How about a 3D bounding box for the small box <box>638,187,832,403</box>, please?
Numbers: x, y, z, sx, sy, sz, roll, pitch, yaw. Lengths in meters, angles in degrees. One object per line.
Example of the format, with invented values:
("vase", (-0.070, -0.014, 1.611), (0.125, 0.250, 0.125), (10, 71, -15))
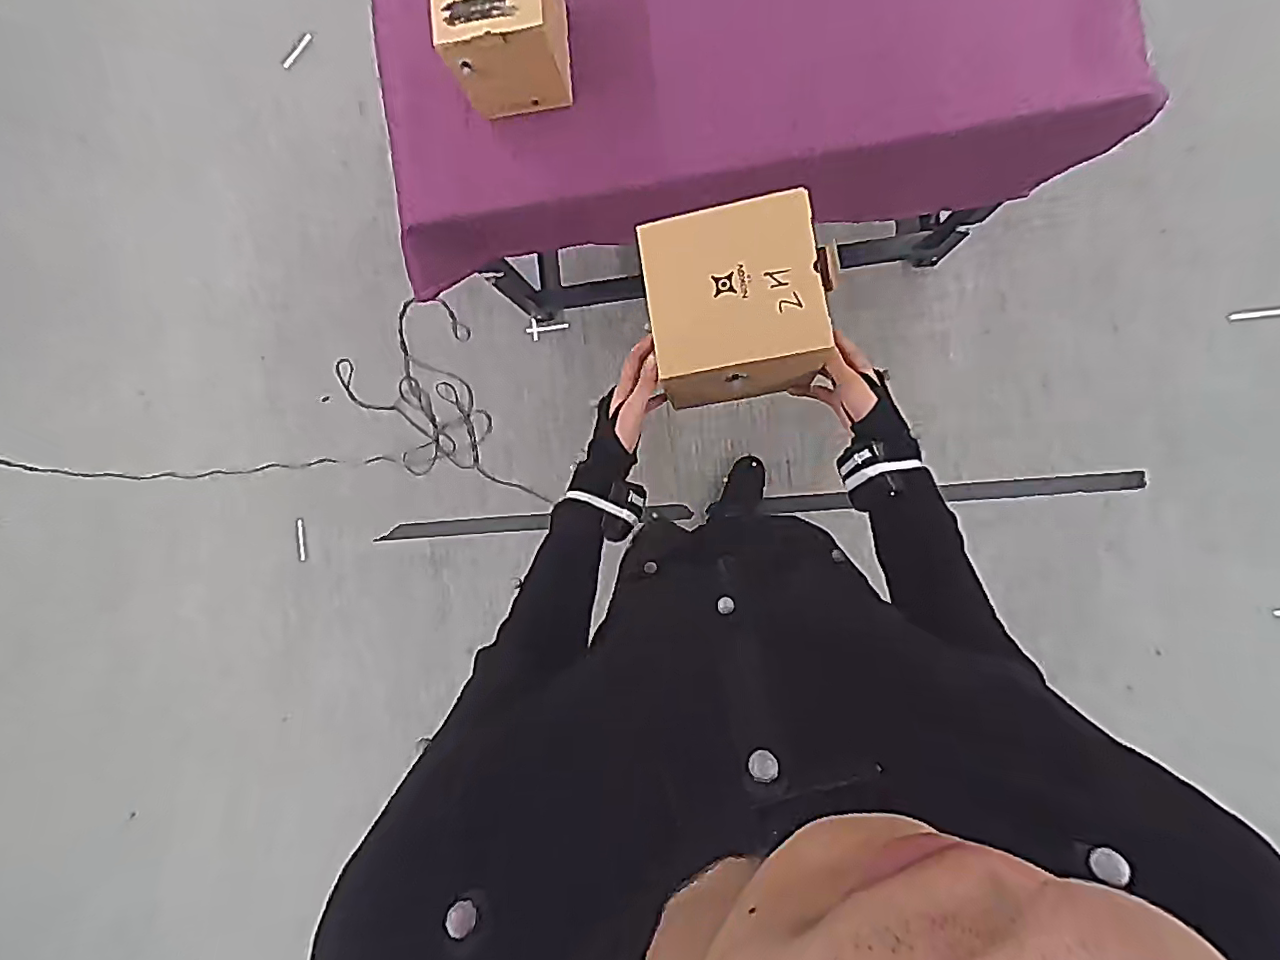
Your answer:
("small box", (0.105, -0.194, 0.620), (0.179, 0.176, 0.168), (-9, 85, 8))
